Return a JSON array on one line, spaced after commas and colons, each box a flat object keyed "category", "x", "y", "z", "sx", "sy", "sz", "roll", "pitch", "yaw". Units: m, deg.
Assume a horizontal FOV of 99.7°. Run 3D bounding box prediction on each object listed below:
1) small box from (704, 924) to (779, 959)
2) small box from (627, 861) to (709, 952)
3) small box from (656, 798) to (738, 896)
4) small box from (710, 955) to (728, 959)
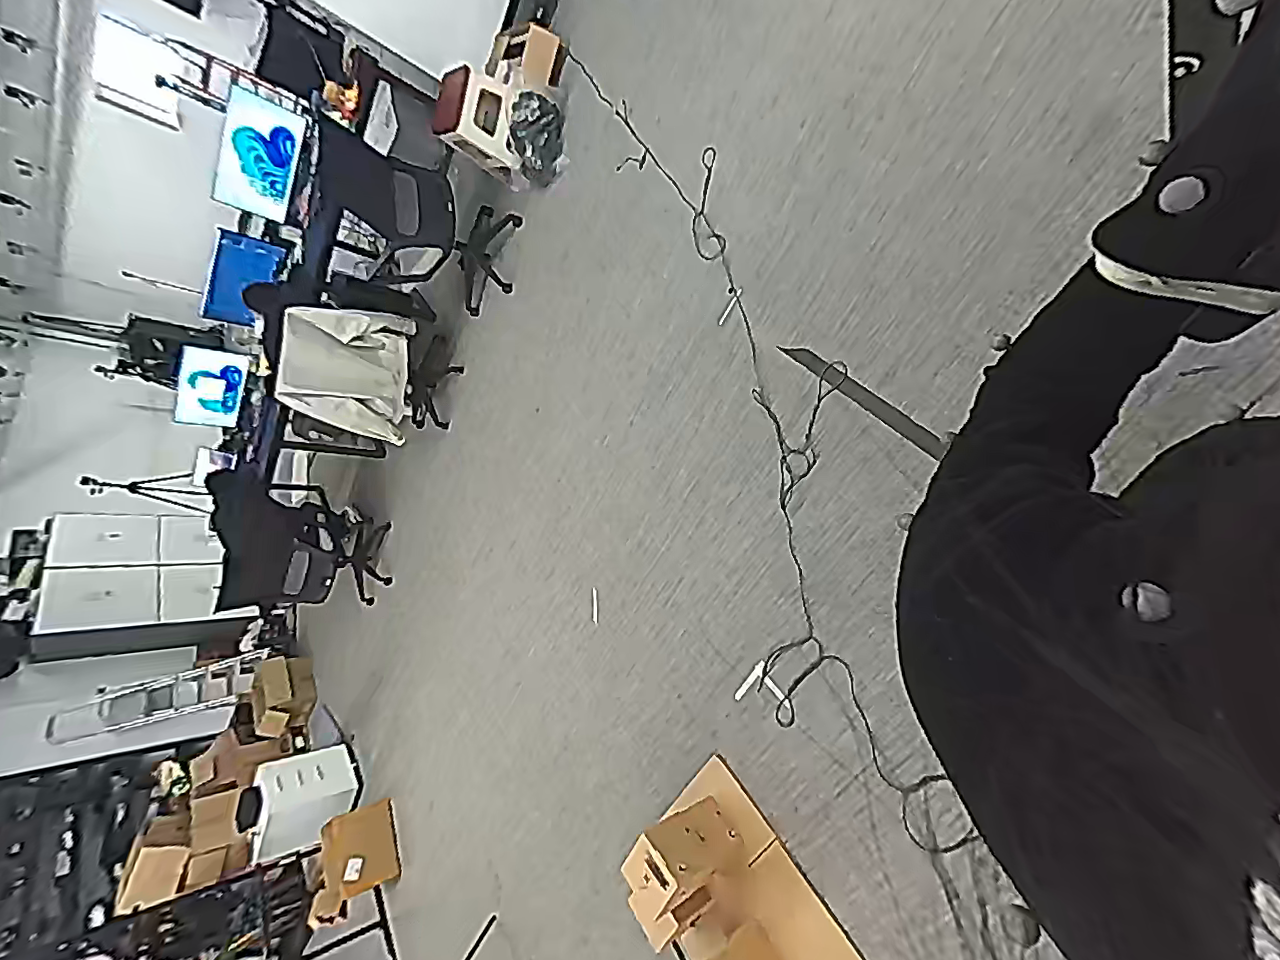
[{"category": "small box", "x": 0.302, "y": 1.455, "z": 1.586, "sx": 0.179, "sy": 0.176, "sz": 0.168, "roll": 50, "pitch": 119, "yaw": 34}, {"category": "small box", "x": 0.093, "y": 1.397, "z": 1.801, "sx": 0.179, "sy": 0.176, "sz": 0.168, "roll": 42, "pitch": 116, "yaw": 38}, {"category": "small box", "x": 0.188, "y": 1.164, "z": 1.729, "sx": 0.168, "sy": 0.176, "sz": 0.179, "roll": 43, "pitch": 115, "yaw": 39}, {"category": "small box", "x": 0.187, "y": 1.446, "z": 1.468, "sx": 0.179, "sy": 0.176, "sz": 0.168, "roll": 51, "pitch": 120, "yaw": 33}]
